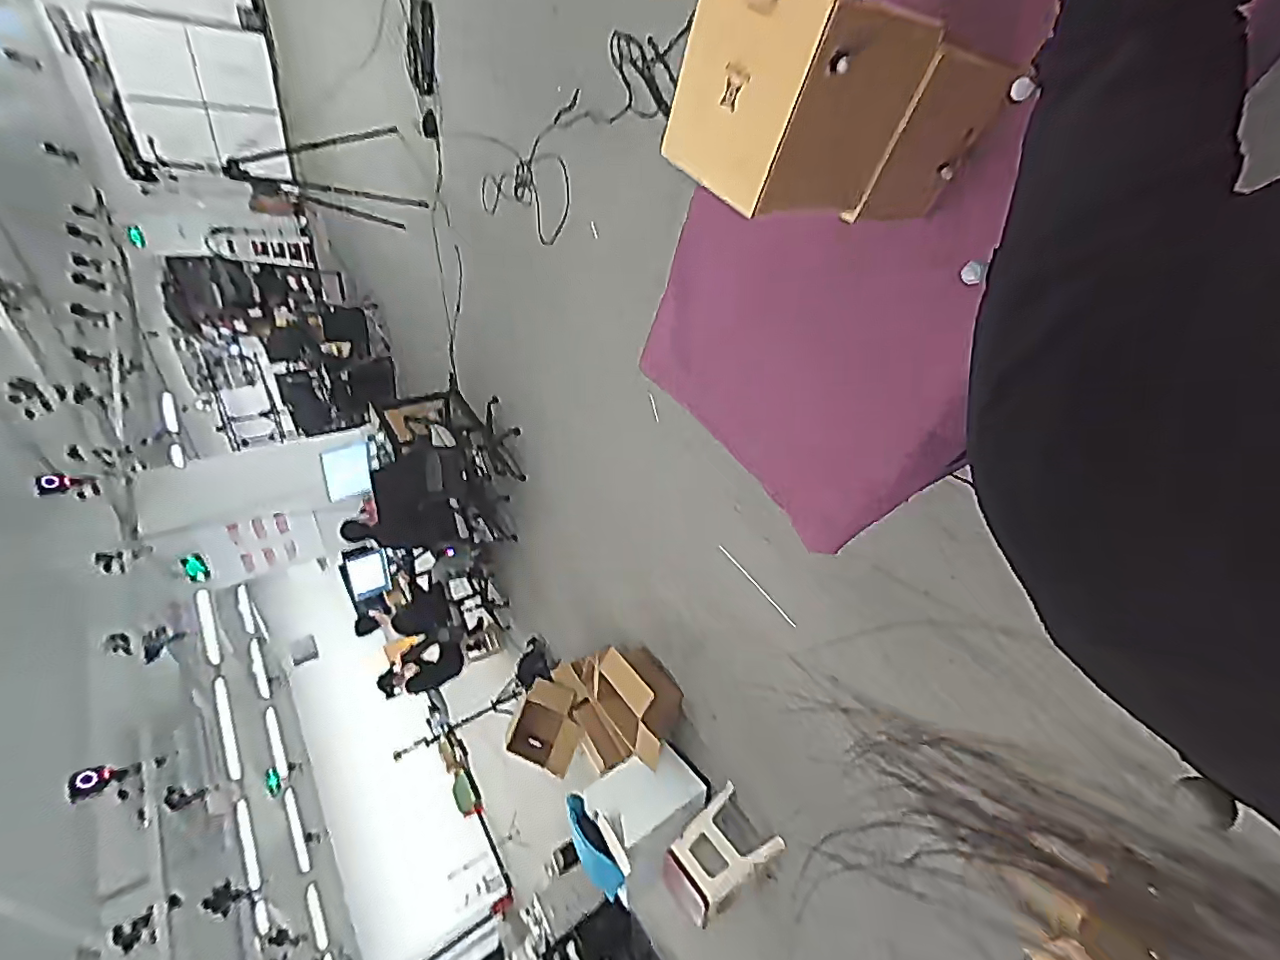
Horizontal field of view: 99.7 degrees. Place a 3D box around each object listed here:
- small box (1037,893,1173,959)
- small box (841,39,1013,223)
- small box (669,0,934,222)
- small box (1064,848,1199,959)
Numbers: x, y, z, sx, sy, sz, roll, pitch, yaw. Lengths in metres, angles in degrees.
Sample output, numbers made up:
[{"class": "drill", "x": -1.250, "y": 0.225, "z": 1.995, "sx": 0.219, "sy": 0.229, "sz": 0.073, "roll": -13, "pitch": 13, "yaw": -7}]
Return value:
[{"class": "small box", "x": 1.097, "y": 1.117, "z": 1.268, "sx": 0.168, "sy": 0.176, "sz": 0.179, "roll": 48, "pitch": 142, "yaw": 32}, {"class": "small box", "x": 0.290, "y": -0.431, "z": 0.653, "sx": 0.179, "sy": 0.176, "sz": 0.168, "roll": 52, "pitch": 144, "yaw": 27}, {"class": "small box", "x": 0.161, "y": -0.393, "z": 0.564, "sx": 0.168, "sy": 0.176, "sz": 0.179, "roll": 52, "pitch": 143, "yaw": 29}, {"class": "small box", "x": 1.230, "y": 1.069, "z": 1.351, "sx": 0.168, "sy": 0.176, "sz": 0.179, "roll": 48, "pitch": 140, "yaw": 31}]
